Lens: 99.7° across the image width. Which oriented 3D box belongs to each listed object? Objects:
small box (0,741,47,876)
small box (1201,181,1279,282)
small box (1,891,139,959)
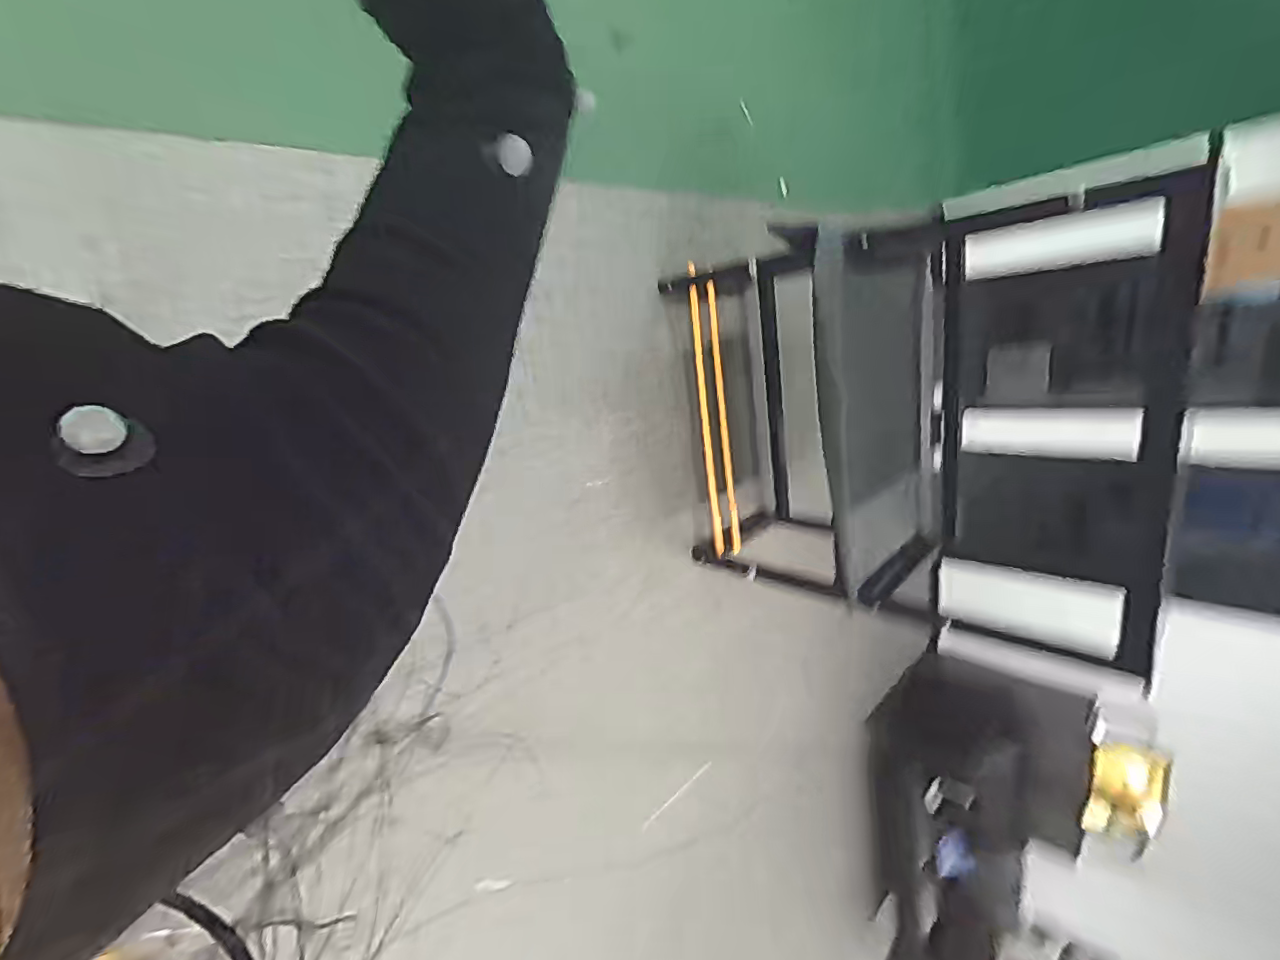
[{"bbox_3d":[-1.186,0.599,0.946,0.179,0.176,0.168,-17,108,-41],"label":"small box"},{"bbox_3d":[1.234,-0.490,1.062,0.179,0.176,0.168,-22,112,-40],"label":"small box"},{"bbox_3d":[-1.125,0.980,1.063,0.179,0.176,0.168,-23,112,-40],"label":"small box"}]
